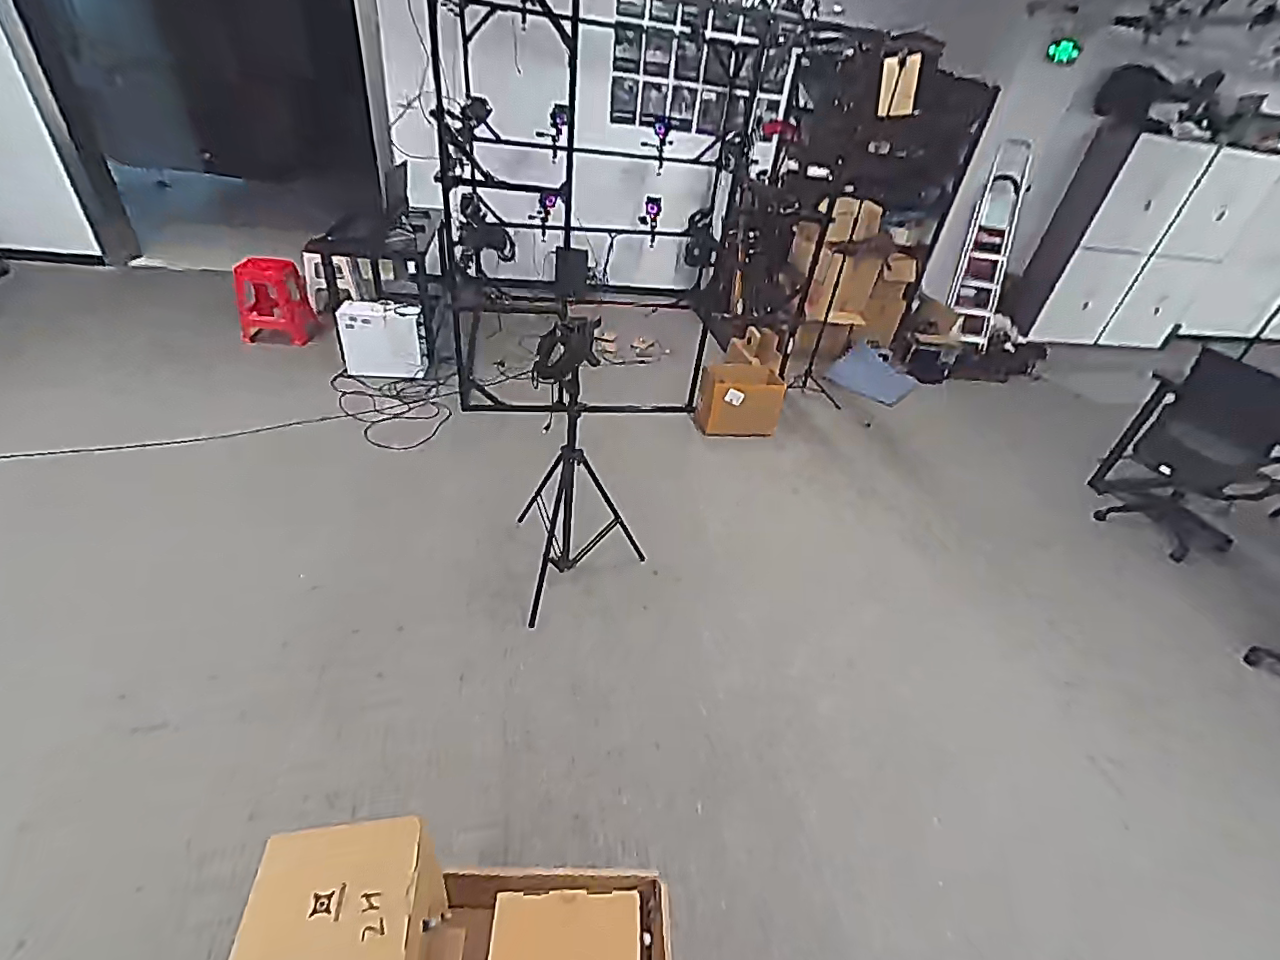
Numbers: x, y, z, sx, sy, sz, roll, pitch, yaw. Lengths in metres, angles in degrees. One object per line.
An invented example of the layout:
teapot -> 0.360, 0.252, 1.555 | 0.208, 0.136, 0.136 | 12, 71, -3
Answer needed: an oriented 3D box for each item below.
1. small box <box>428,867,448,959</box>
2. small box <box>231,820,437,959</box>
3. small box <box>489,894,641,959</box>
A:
small box -> -0.360, 0.673, 0.738 | 0.168, 0.176, 0.179 | 0, 35, -13
small box -> -0.350, 0.540, 0.642 | 0.179, 0.176, 0.168 | 0, 36, -12
small box -> -0.084, 0.593, 0.610 | 0.168, 0.176, 0.179 | 2, 41, -3
